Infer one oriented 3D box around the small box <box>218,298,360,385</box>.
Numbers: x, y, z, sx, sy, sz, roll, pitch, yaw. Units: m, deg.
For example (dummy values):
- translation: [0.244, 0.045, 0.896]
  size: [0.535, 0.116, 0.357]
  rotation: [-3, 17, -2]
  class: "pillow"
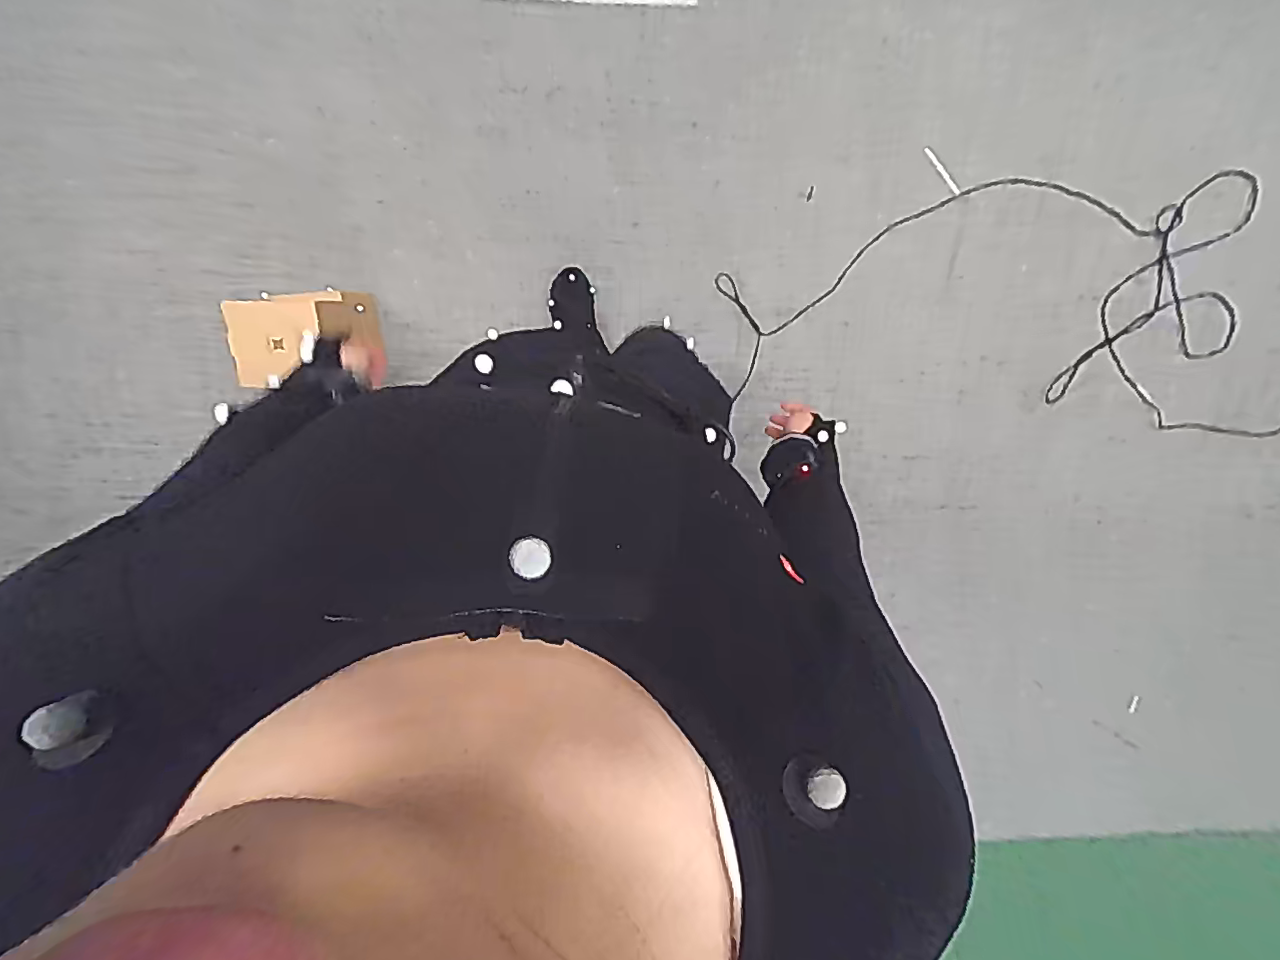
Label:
- translation: [-0.717, -0.290, 1.124]
  size: [0.179, 0.176, 0.168]
  rotation: [-2, 108, -4]
  class: "small box"
